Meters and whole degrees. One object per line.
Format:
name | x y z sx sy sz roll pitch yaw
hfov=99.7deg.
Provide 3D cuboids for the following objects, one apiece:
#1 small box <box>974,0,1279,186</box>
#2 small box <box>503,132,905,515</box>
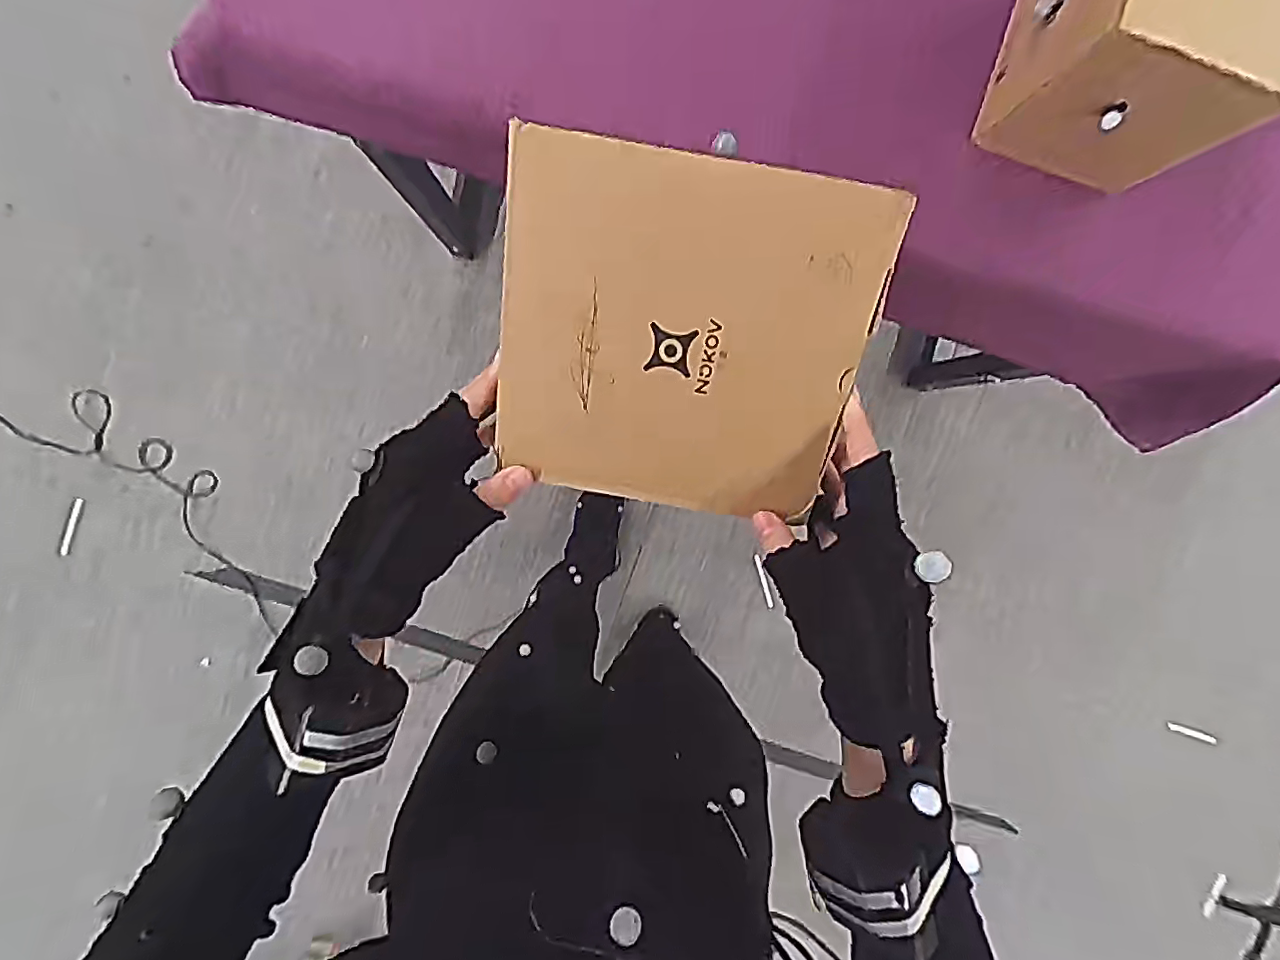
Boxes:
small box | 0.460 -0.410 0.506 0.179 0.176 0.168 16 93 -4
small box | 0.026 -0.097 0.340 0.179 0.176 0.168 9 112 1
